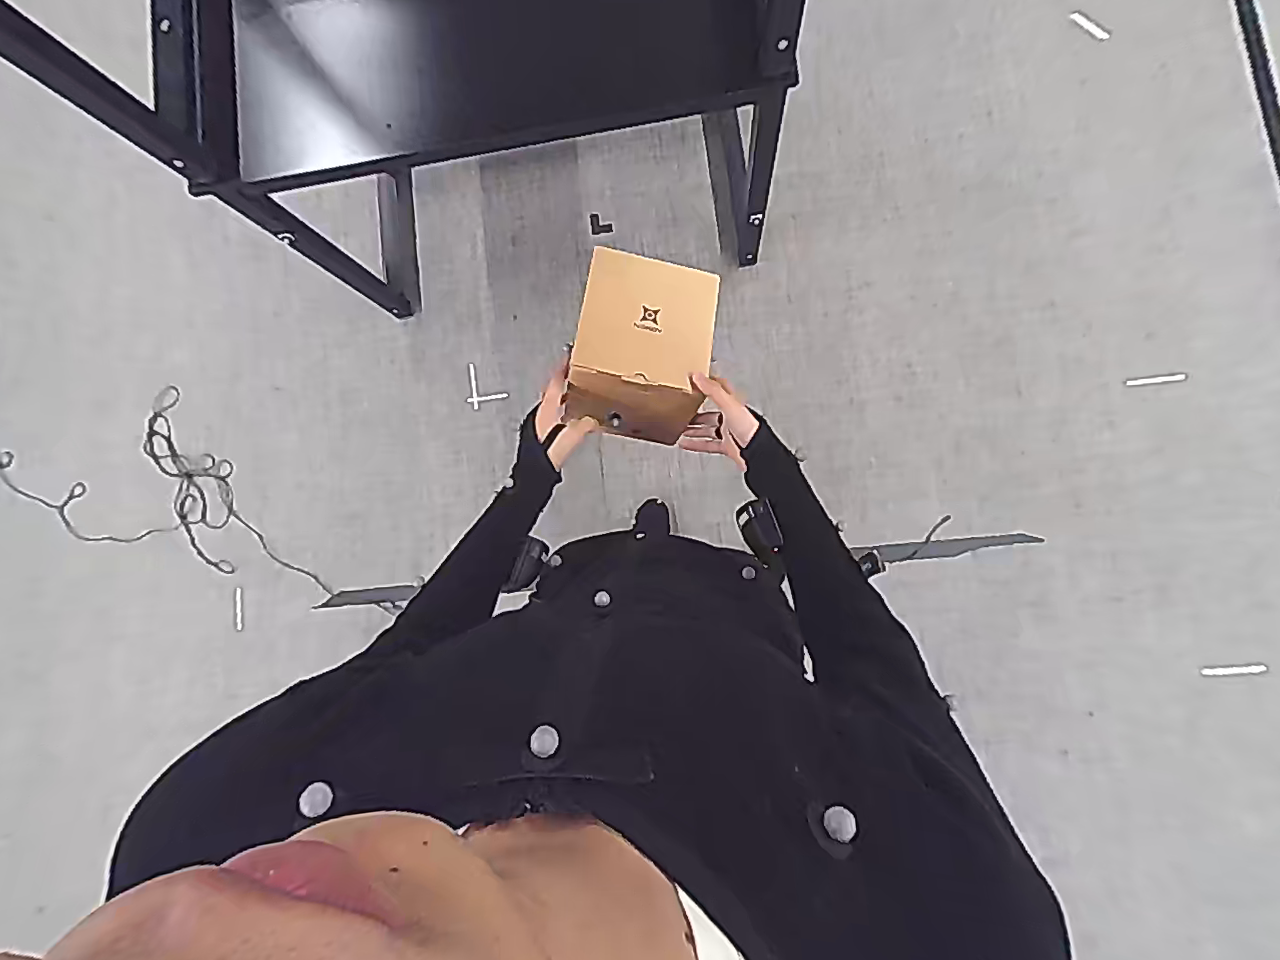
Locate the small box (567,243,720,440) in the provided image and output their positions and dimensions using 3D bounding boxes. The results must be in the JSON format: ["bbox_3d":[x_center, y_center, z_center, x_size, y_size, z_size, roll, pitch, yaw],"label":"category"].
[{"bbox_3d":[-0.002,-0.175,0.727,0.168,0.176,0.179,11,72,-8],"label":"small box"}]
